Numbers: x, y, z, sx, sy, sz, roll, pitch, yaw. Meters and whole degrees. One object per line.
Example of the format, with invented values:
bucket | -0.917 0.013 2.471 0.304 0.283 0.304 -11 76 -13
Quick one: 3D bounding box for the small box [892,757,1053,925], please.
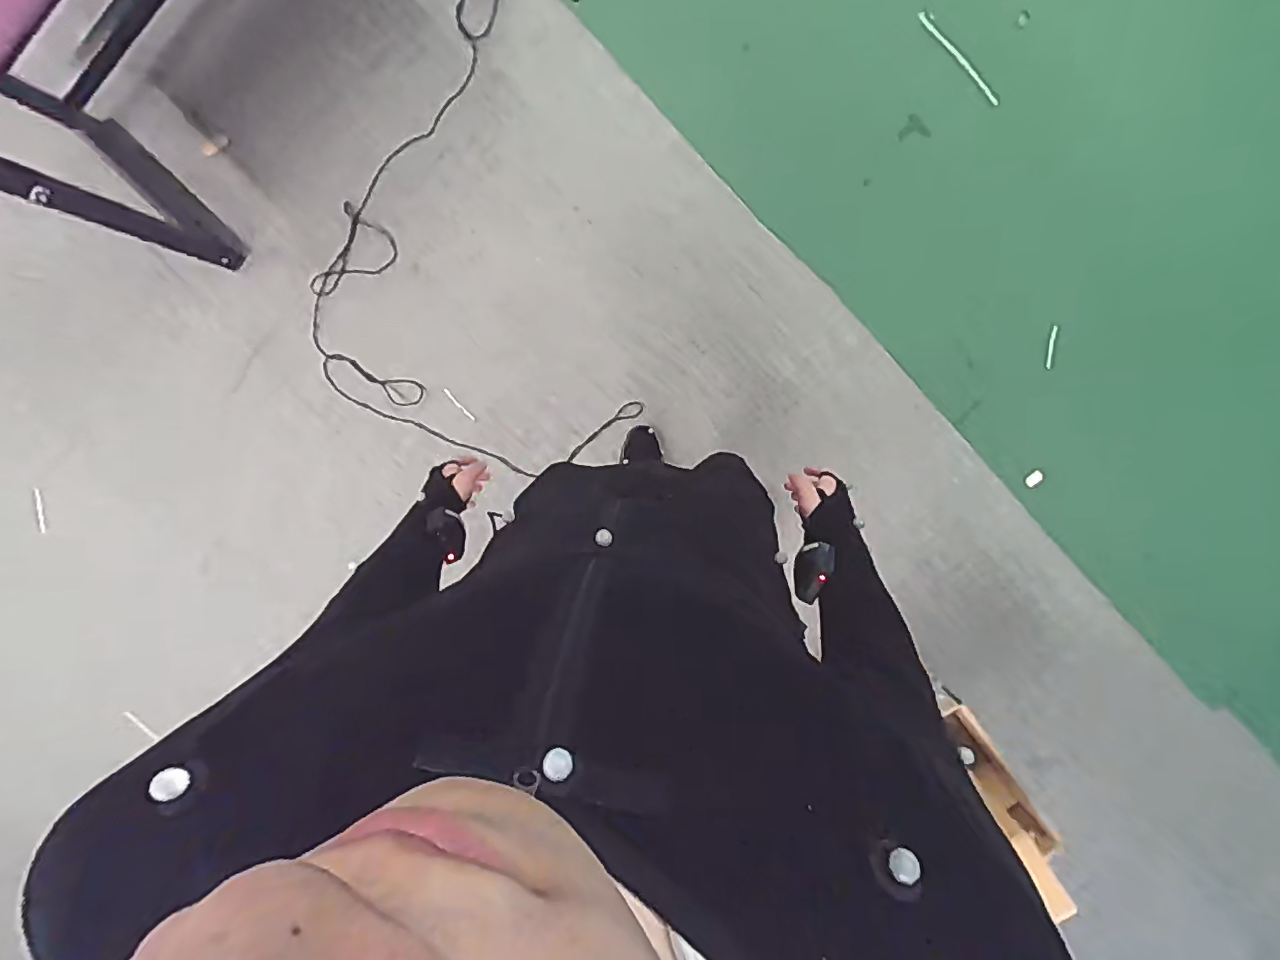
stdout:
small box | 0.630 0.688 1.048 0.168 0.176 0.179 -35 96 6
